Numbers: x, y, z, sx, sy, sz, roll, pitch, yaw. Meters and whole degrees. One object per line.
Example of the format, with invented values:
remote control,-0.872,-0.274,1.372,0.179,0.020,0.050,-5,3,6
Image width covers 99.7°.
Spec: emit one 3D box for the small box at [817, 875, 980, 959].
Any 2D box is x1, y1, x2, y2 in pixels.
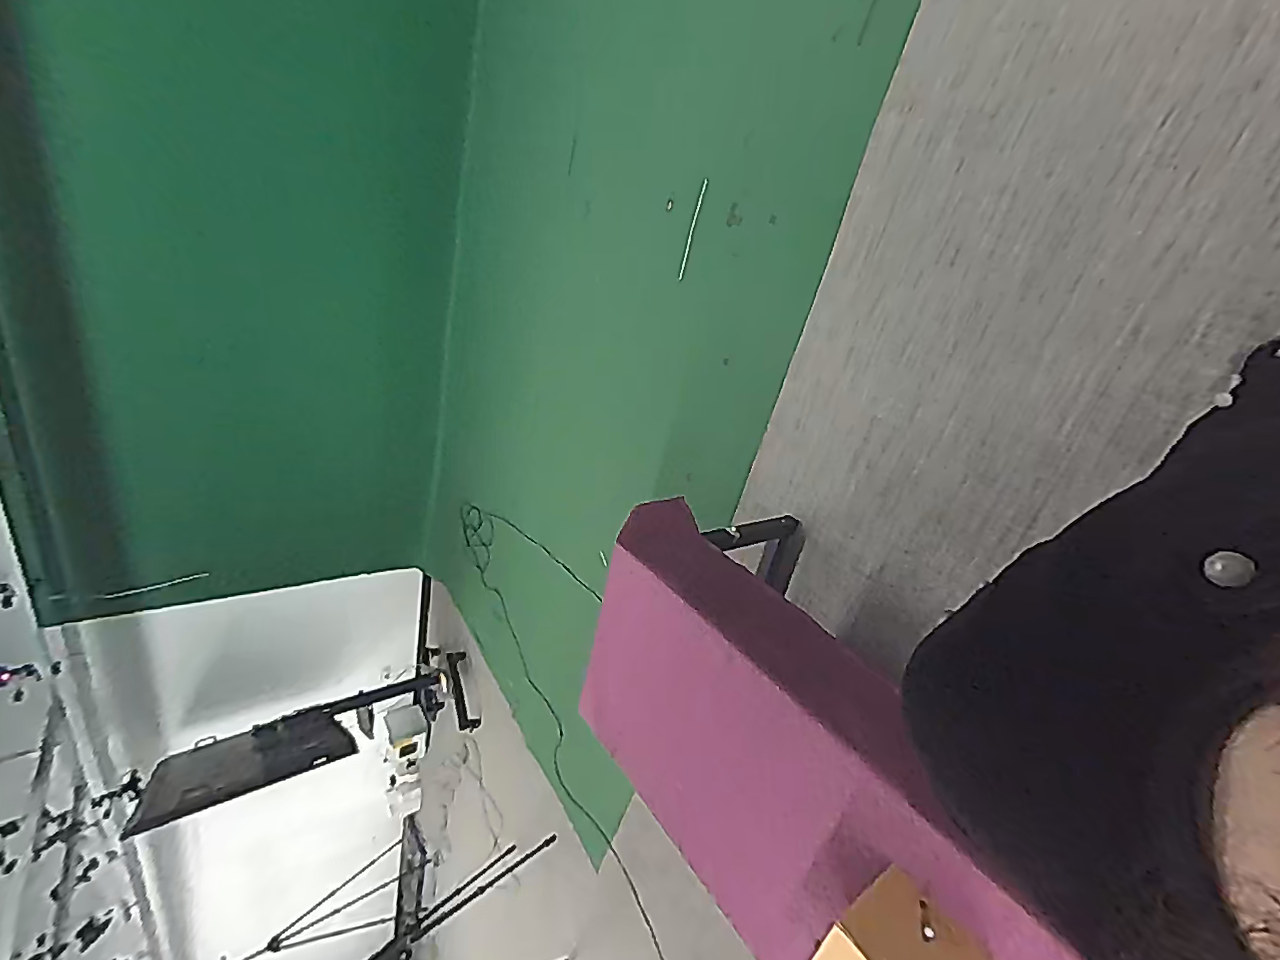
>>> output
small box,0.372,0.742,0.793,0.168,0.176,0.179,37,122,43
